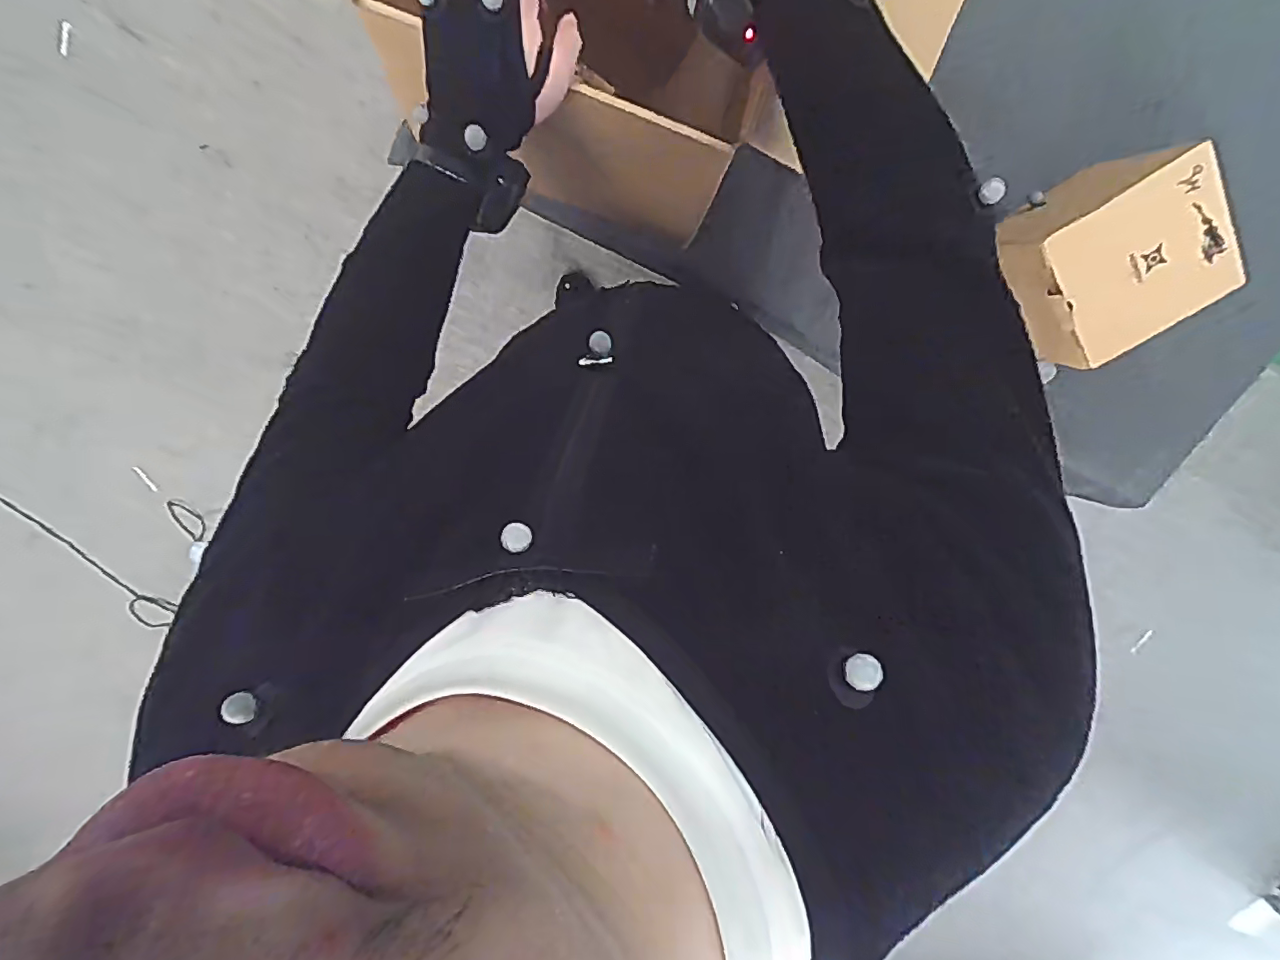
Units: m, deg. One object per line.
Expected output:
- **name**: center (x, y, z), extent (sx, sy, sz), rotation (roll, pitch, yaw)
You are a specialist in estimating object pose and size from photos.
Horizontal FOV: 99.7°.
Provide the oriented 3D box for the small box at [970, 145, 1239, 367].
- **small box**: center (0.544, -0.263, 0.663), extent (0.179, 0.176, 0.168), rotation (-31, 108, 12)
